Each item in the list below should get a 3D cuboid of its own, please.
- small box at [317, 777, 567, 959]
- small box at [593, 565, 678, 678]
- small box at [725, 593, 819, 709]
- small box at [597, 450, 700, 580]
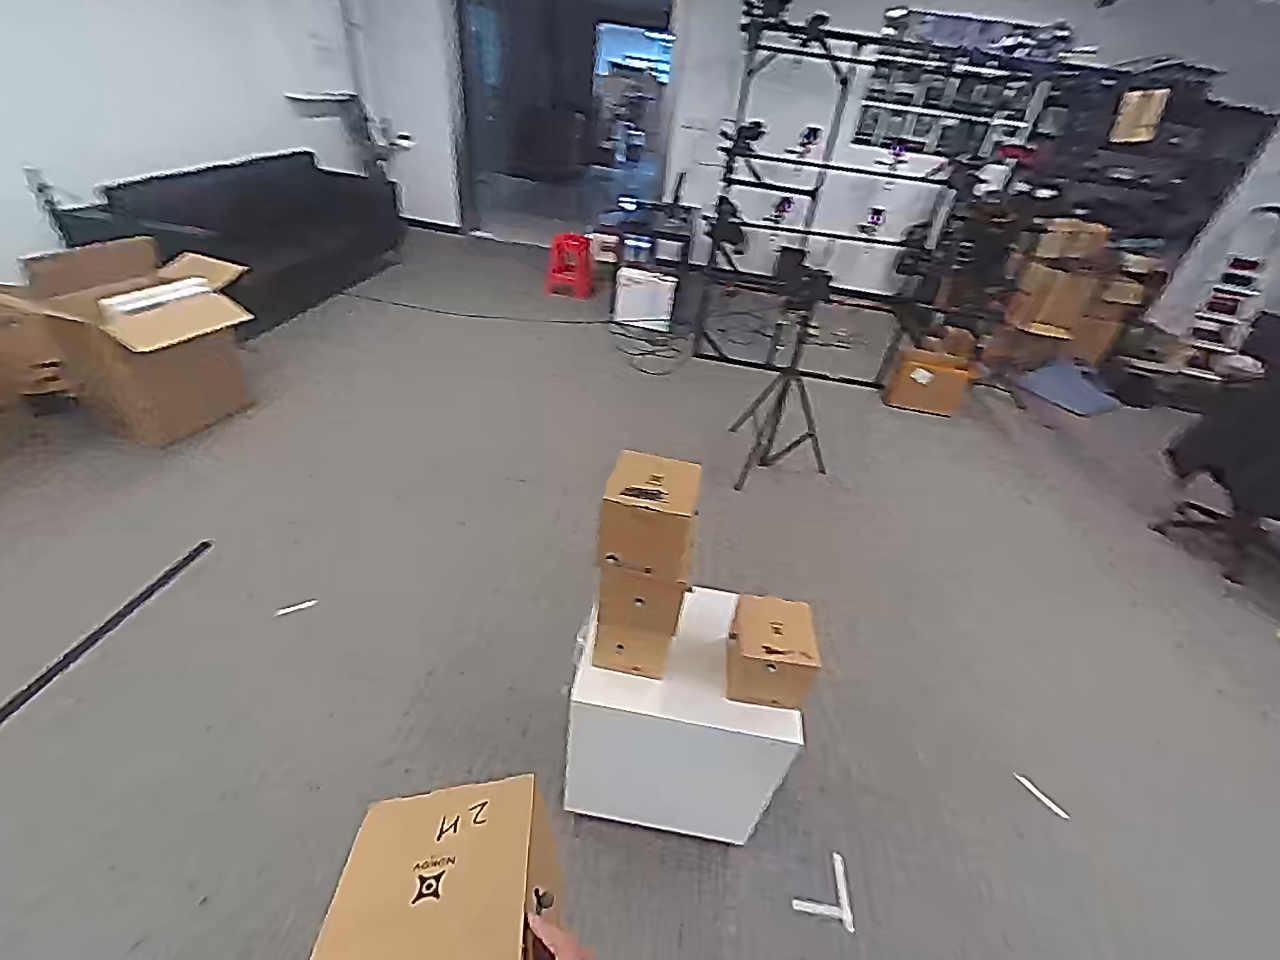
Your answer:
[{"bbox_3d":[-0.160,0.413,0.488,0.168,0.176,0.179,-7,20,-3],"label":"small box"},{"bbox_3d":[-0.012,0.330,1.255,0.168,0.176,0.179,11,36,3],"label":"small box"},{"bbox_3d":[0.290,0.387,1.231,0.168,0.176,0.179,7,36,1],"label":"small box"},{"bbox_3d":[0.016,0.069,1.057,0.168,0.176,0.179,12,35,6],"label":"small box"}]
